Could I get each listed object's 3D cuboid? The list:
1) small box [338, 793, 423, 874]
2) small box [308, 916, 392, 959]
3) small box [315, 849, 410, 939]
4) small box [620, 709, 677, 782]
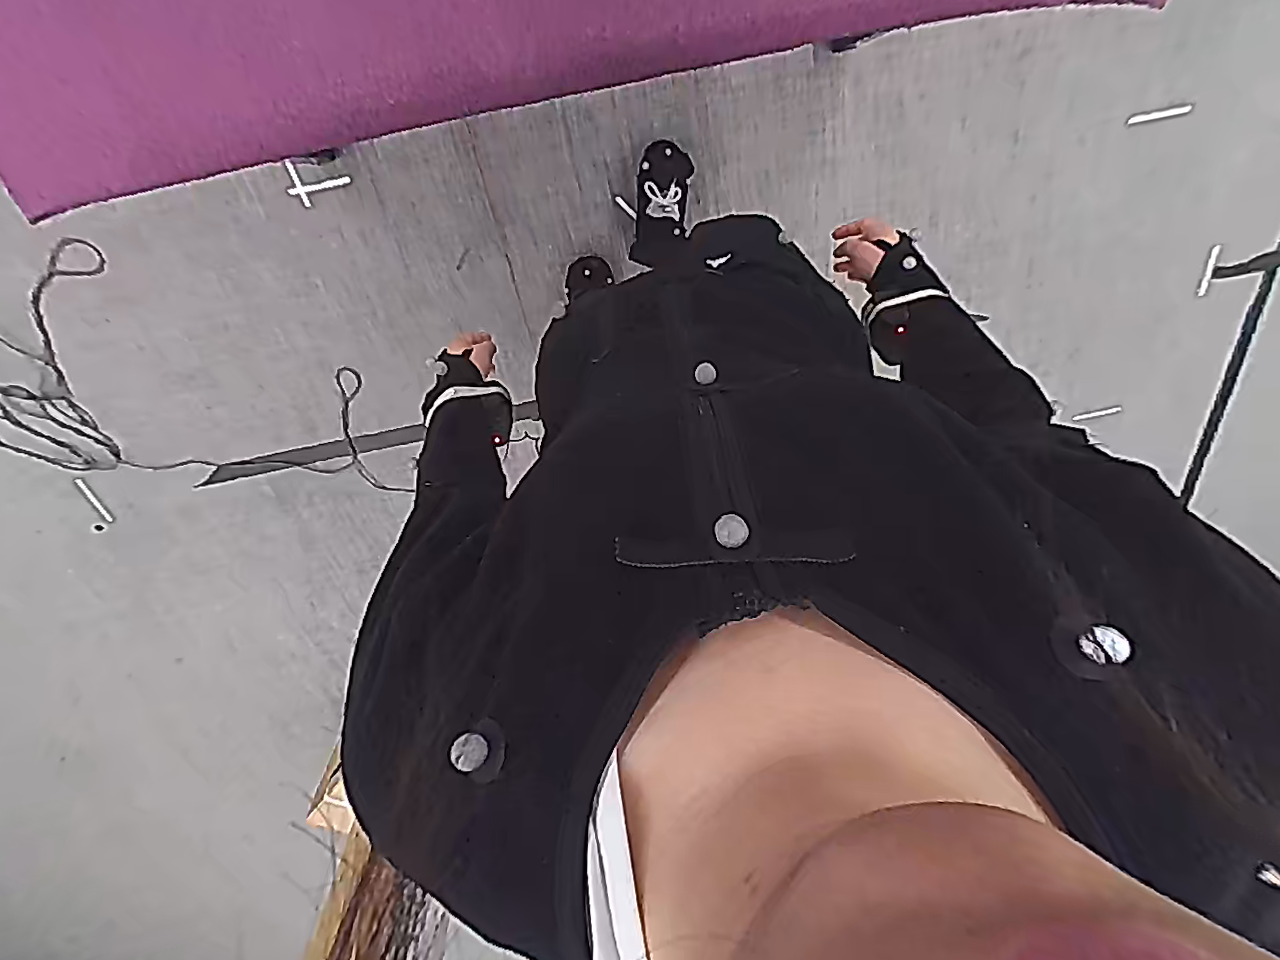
[{"bbox_3d":[-0.816,1.140,1.718,0.168,0.176,0.179,32,110,-22],"label":"small box"},{"bbox_3d":[-0.785,1.298,1.433,0.168,0.176,0.179,32,111,-22],"label":"small box"},{"bbox_3d":[-0.801,1.222,1.577,0.168,0.176,0.179,33,111,-22],"label":"small box"},{"bbox_3d":[0.032,1.030,2.104,0.168,0.176,0.179,-22,119,3],"label":"small box"}]
